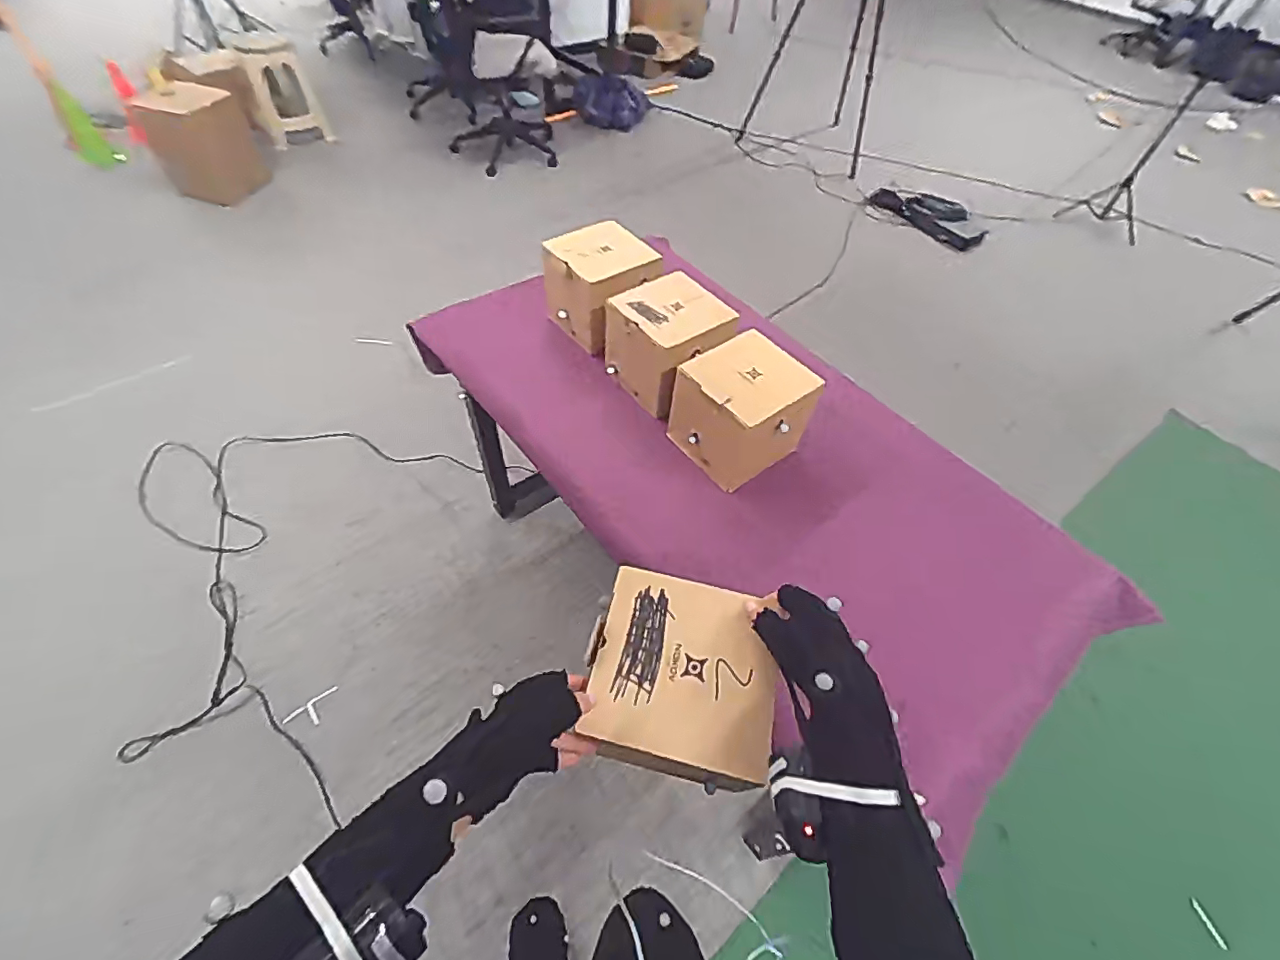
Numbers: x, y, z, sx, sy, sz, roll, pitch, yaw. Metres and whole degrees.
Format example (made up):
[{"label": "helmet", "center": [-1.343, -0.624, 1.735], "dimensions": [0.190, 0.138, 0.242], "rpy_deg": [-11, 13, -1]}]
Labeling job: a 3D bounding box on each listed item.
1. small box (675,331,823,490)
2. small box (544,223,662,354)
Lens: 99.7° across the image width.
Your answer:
[{"label": "small box", "center": [0.175, -0.118, 0.929], "dimensions": [0.179, 0.176, 0.168], "rpy_deg": [-32, 60, -22]}, {"label": "small box", "center": [-0.078, -0.393, 1.113], "dimensions": [0.179, 0.176, 0.168], "rpy_deg": [-31, 61, -24]}]
